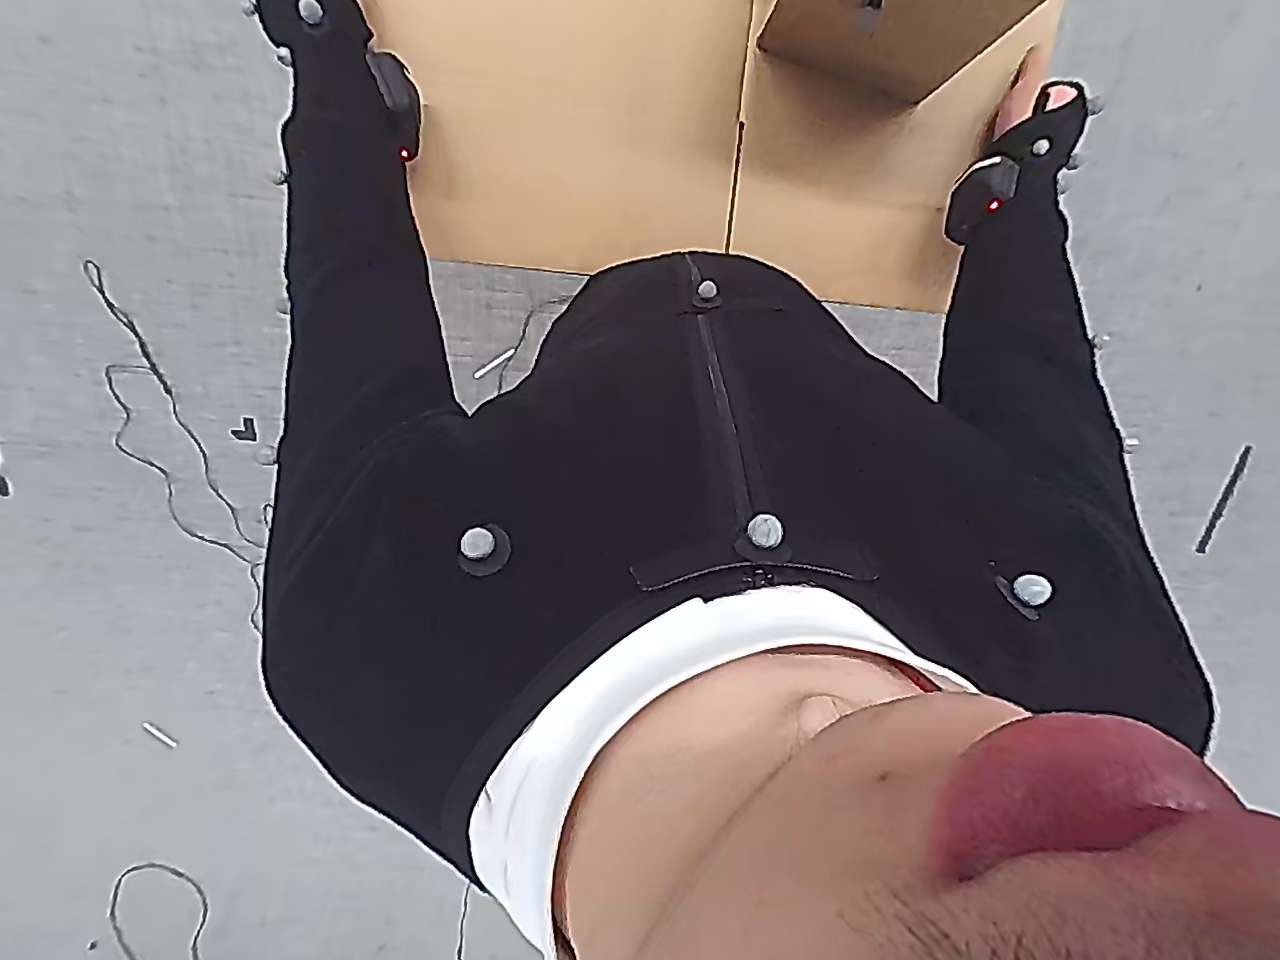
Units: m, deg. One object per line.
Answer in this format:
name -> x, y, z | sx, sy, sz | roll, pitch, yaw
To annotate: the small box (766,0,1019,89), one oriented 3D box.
small box -> 0.220, -0.459, 0.435 | 0.179, 0.176, 0.168 | 15, 103, -5
